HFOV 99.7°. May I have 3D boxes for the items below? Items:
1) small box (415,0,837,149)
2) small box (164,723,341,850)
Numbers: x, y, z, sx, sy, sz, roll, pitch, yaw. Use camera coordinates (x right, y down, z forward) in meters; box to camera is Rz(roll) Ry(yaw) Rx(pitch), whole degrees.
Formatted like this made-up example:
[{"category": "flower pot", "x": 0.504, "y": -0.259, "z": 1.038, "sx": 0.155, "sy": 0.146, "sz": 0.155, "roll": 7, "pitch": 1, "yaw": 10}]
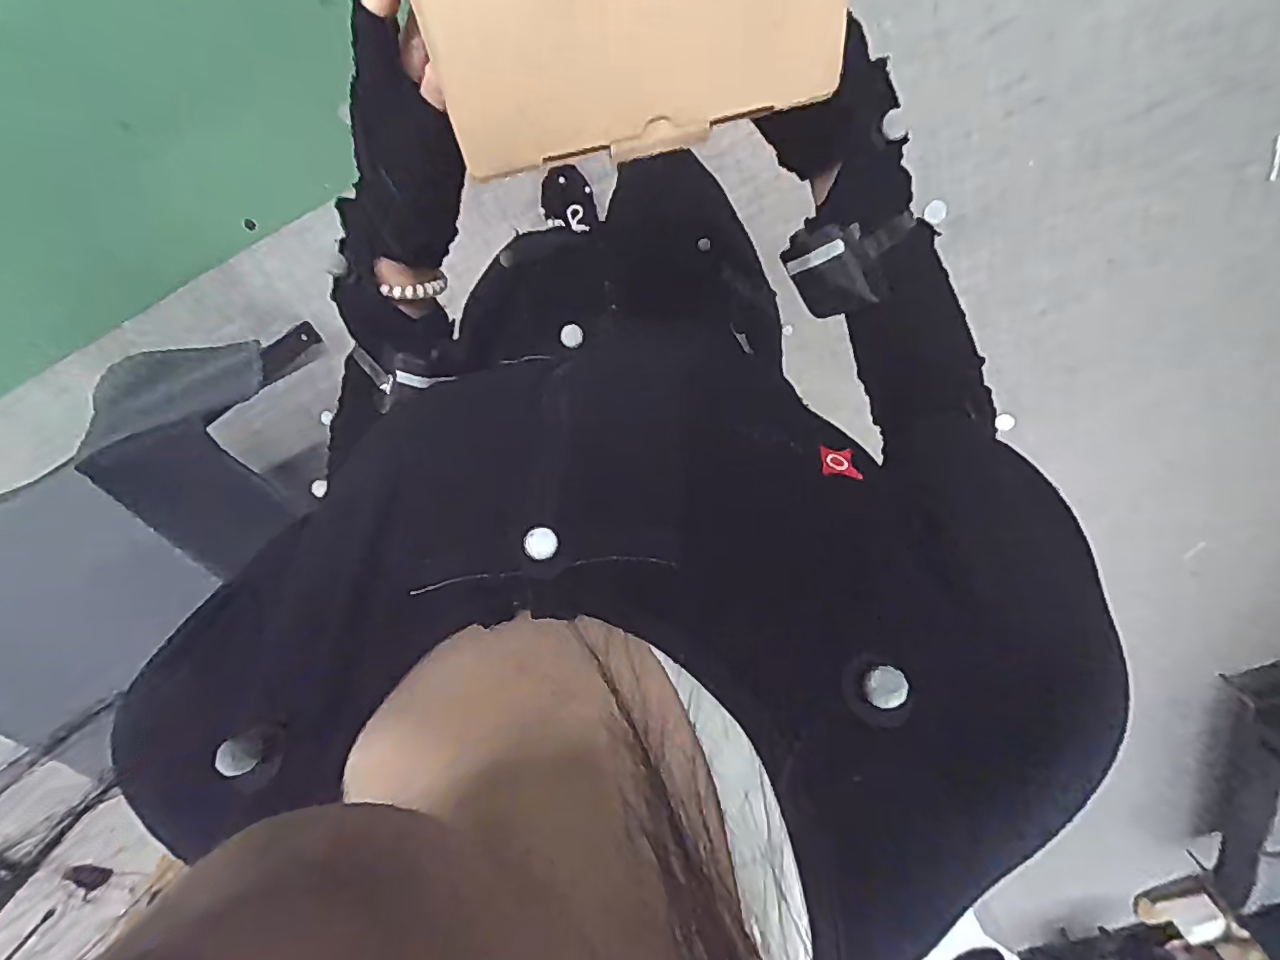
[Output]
[{"category": "small box", "x": -0.026, "y": -0.270, "z": 0.229, "sx": 0.168, "sy": 0.176, "sz": 0.179, "roll": -16, "pitch": 133, "yaw": -5}, {"category": "small box", "x": -0.709, "y": 0.592, "z": 1.013, "sx": 0.179, "sy": 0.176, "sz": 0.168, "roll": -23, "pitch": 122, "yaw": 8}]
